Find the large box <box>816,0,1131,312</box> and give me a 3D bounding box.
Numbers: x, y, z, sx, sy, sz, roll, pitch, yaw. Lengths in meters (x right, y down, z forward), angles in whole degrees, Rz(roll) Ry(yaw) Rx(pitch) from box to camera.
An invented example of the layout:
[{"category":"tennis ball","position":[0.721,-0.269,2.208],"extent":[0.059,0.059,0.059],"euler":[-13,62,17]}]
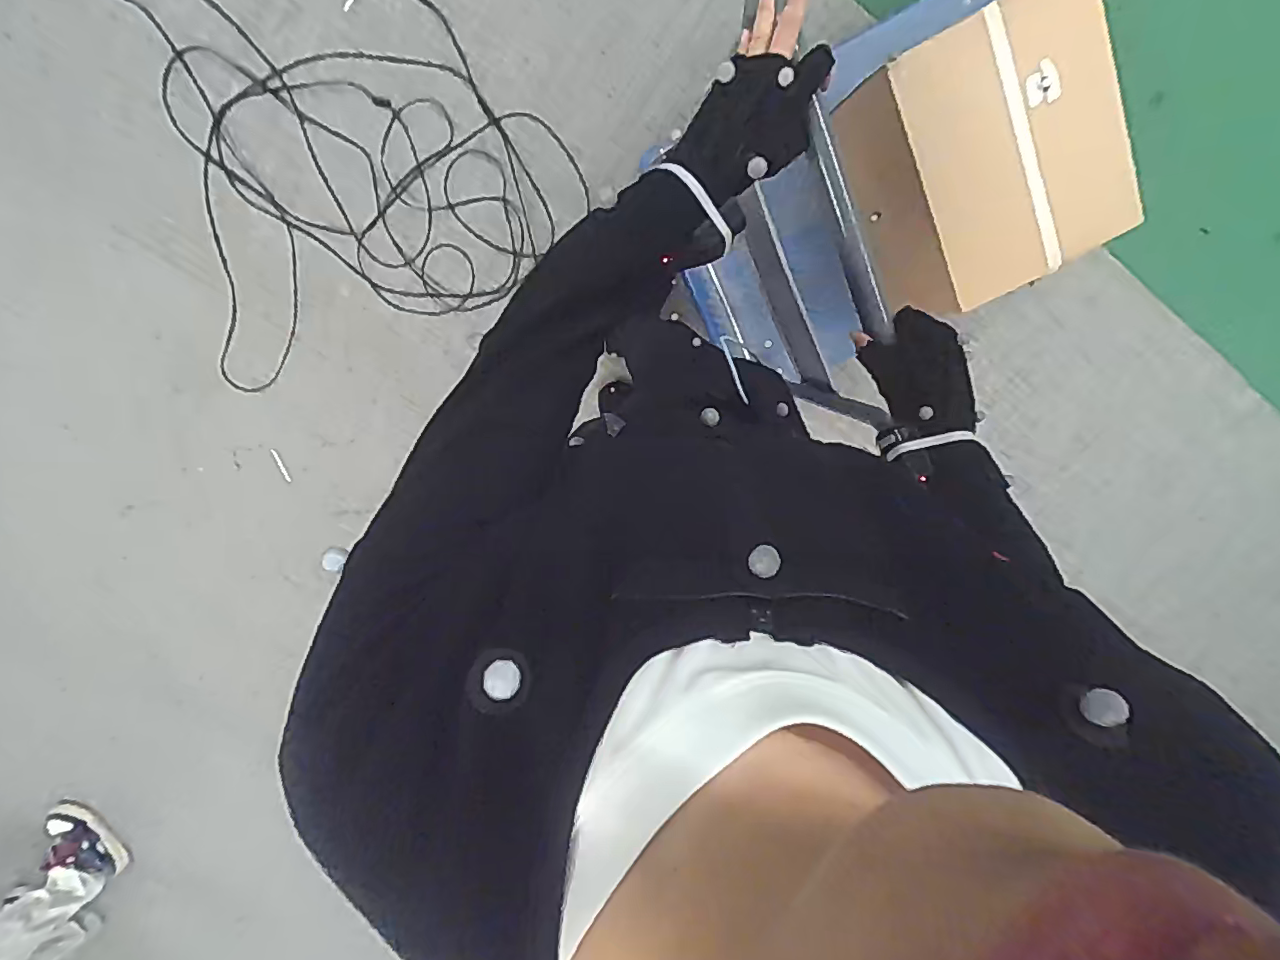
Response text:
[{"category":"large box","position":[0.582,-0.566,0.998],"extent":[0.320,0.320,0.408],"euler":[-27,106,6]}]
